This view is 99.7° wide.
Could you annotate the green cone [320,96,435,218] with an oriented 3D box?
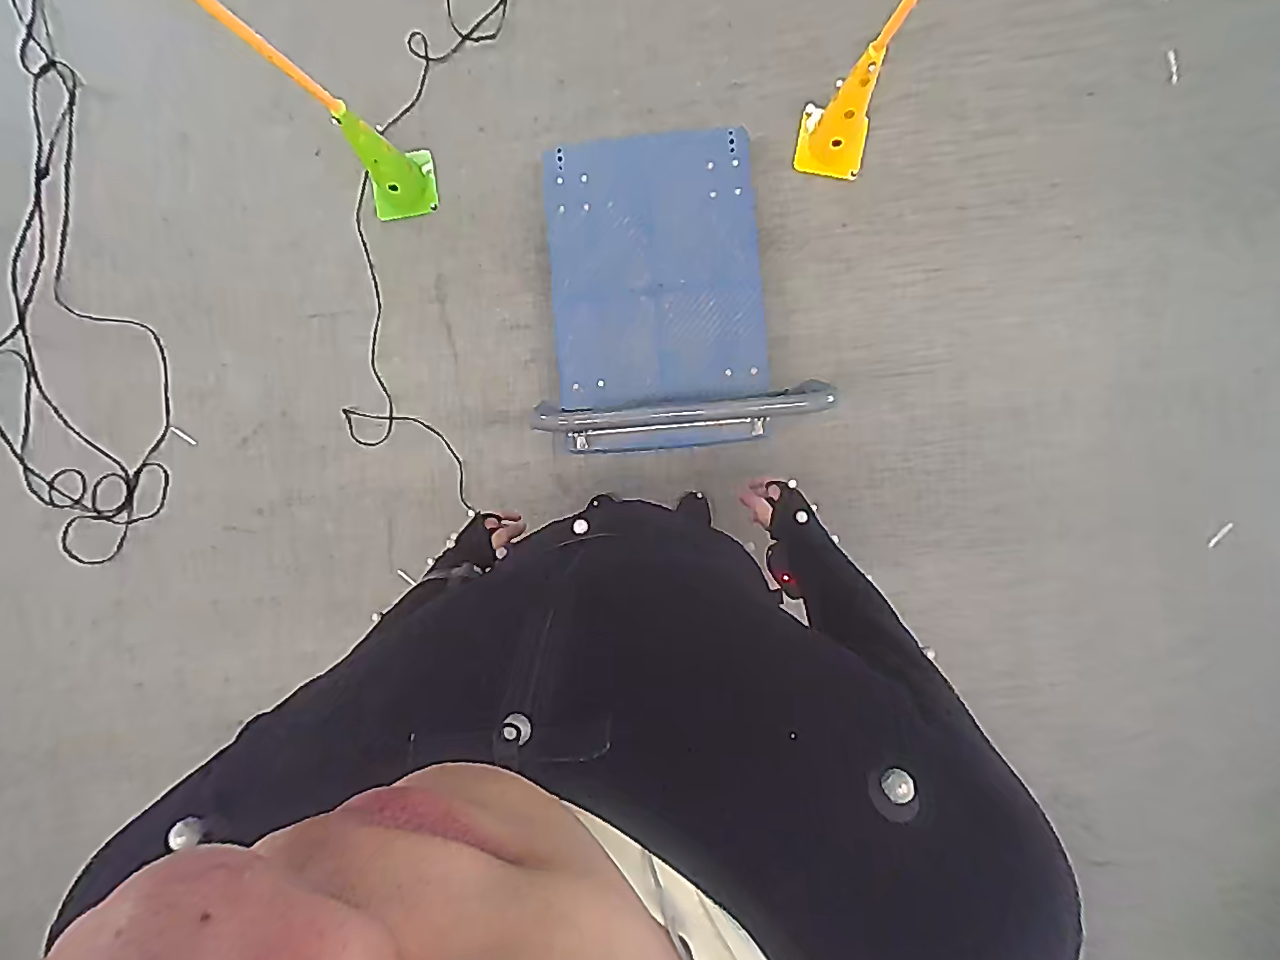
[{"bbox_3d":[-0.758,-0.933,1.514,0.202,0.368,0.200,-10,88,4],"label":"green cone"}]
